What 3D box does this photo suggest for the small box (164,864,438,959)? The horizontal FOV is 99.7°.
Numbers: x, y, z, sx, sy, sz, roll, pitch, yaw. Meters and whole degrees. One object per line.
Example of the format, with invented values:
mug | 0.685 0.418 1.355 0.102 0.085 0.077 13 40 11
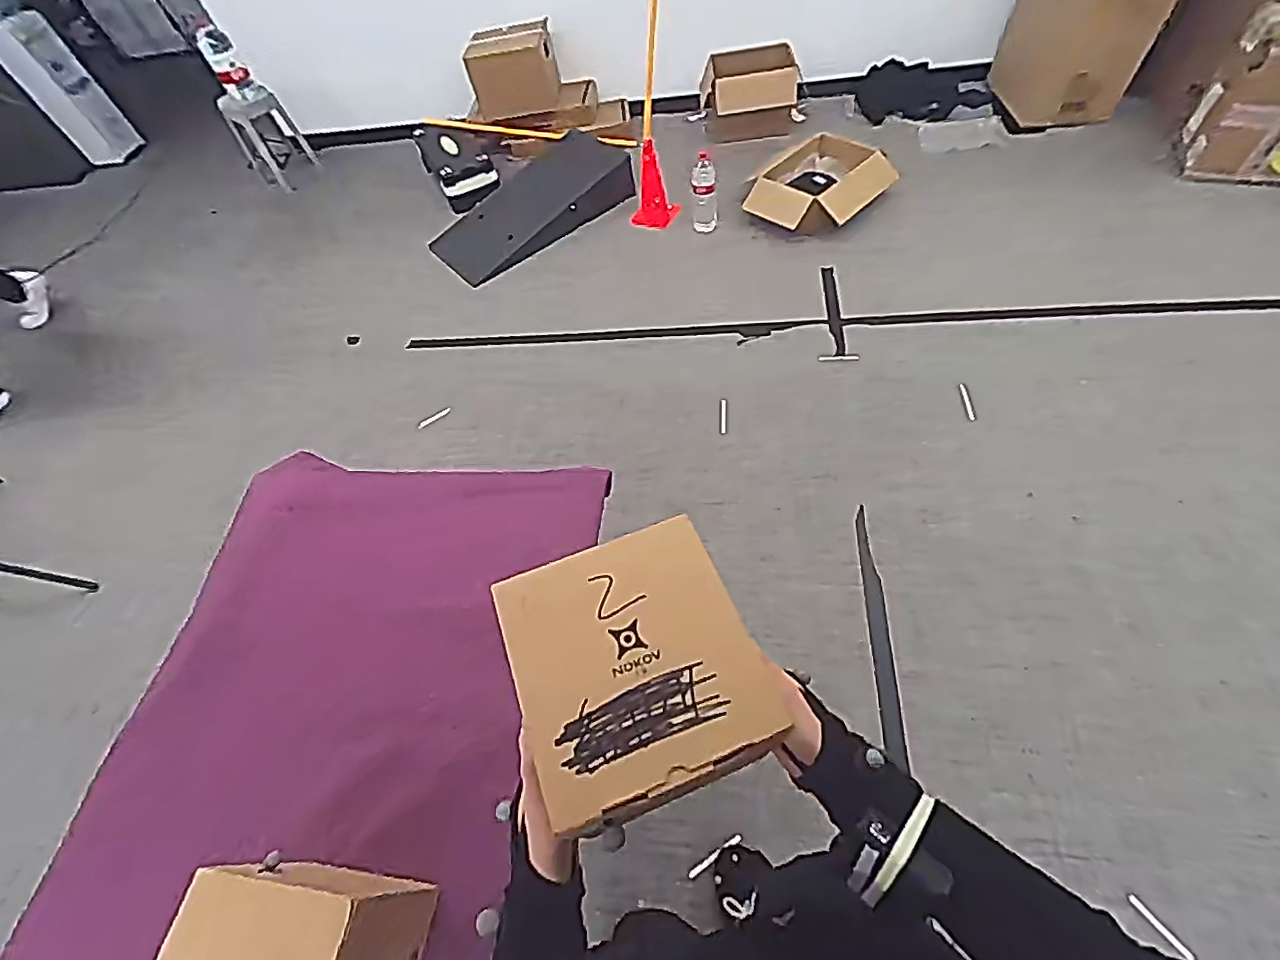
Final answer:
small box | -0.333 0.486 0.526 0.179 0.176 0.168 2 57 11
